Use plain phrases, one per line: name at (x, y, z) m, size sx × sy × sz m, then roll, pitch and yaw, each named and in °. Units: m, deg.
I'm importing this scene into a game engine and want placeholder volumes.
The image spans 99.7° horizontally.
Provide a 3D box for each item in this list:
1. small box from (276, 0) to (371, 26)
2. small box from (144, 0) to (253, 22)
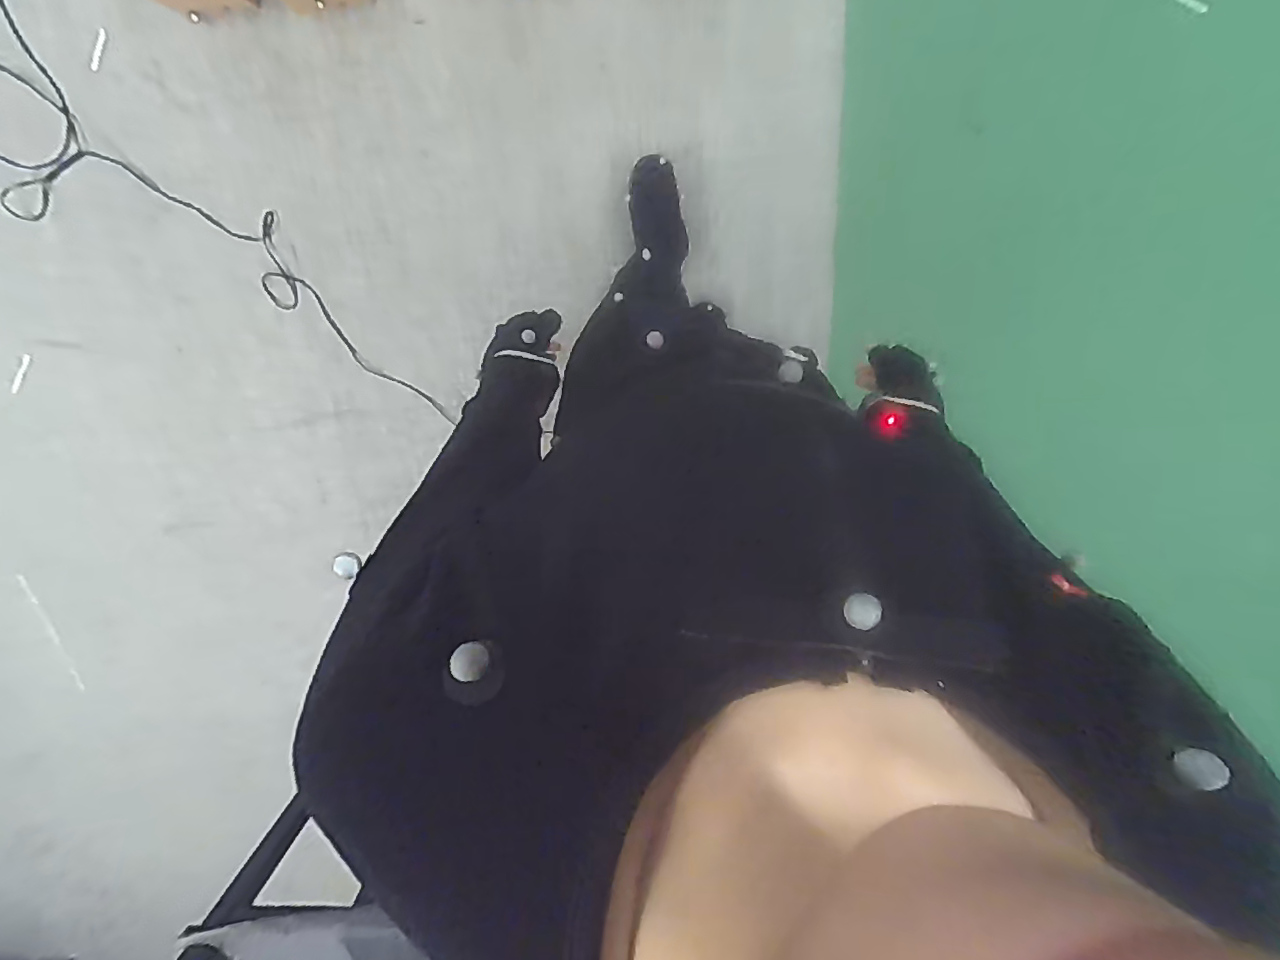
small box at (-0.673, -1.057, 1.075) m, size 0.168 × 0.176 × 0.179 m, roll -8°, pitch 110°, yaw 6°
small box at (-0.928, -1.061, 1.084) m, size 0.168 × 0.176 × 0.179 m, roll -5°, pitch 109°, yaw 5°
